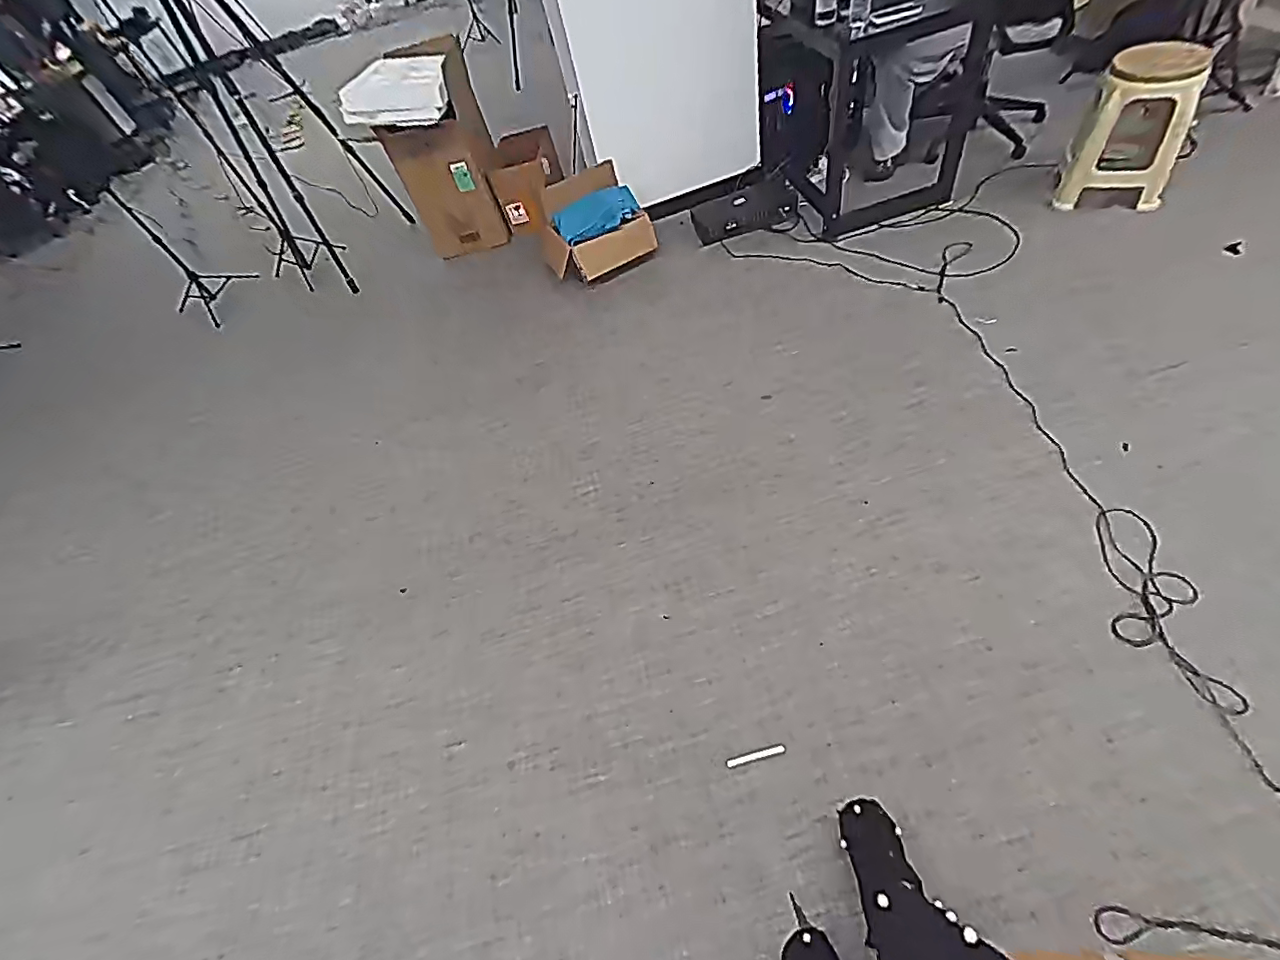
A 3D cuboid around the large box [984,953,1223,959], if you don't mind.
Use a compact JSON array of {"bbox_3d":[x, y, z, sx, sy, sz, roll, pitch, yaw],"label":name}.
[{"bbox_3d":[0.607,0.738,0.510,0.320,0.408,0.320,-7,70,9],"label":"large box"}]
